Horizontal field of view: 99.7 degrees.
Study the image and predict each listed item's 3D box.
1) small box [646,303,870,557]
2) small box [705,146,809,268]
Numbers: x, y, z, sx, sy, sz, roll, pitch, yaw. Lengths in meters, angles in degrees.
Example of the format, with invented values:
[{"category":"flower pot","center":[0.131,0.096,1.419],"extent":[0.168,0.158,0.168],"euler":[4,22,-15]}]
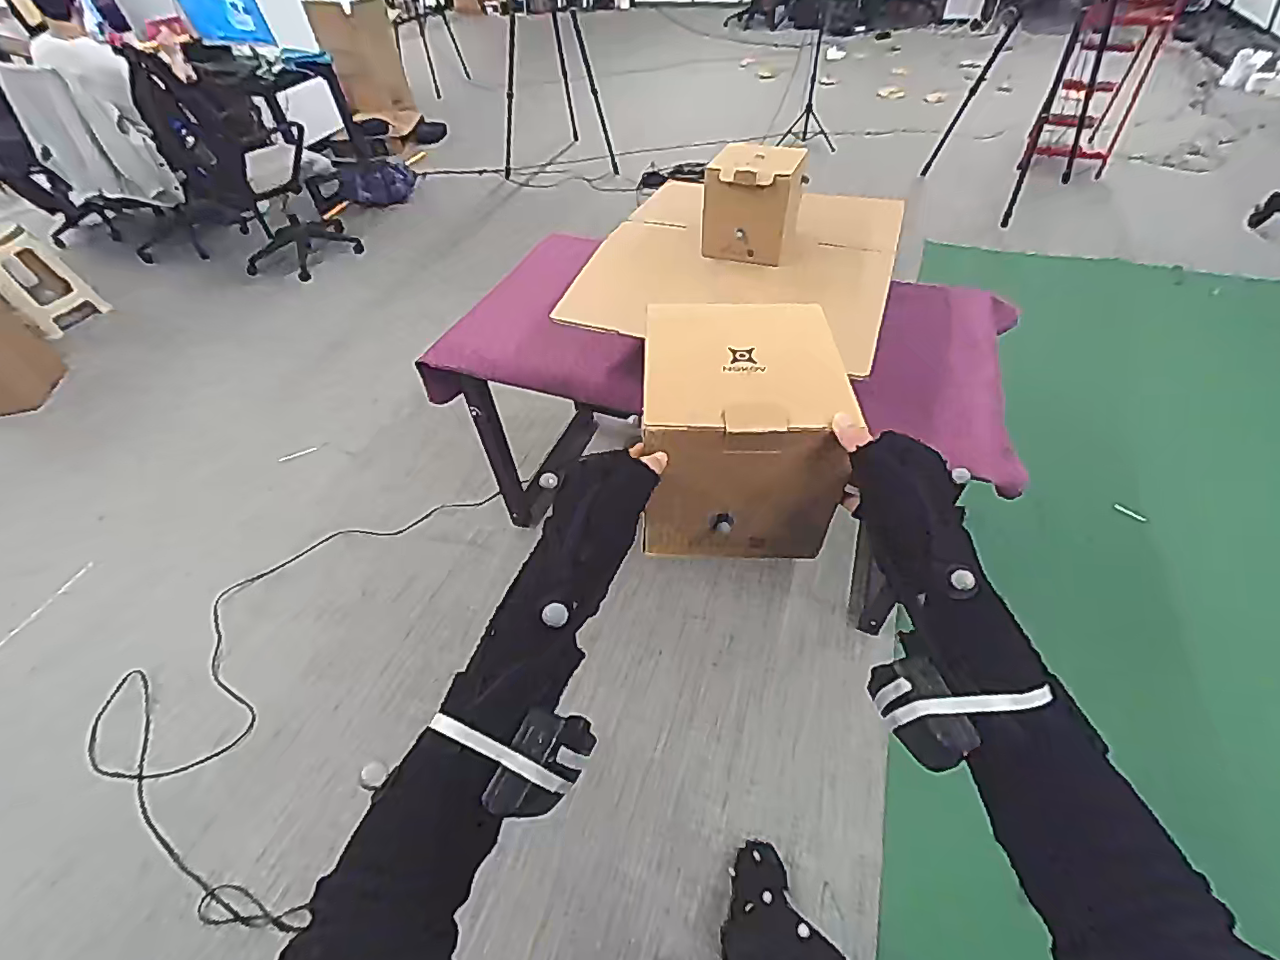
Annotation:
[{"category":"small box","center":[0.090,-0.047,0.514],"extent":[0.168,0.176,0.179],"euler":[0,48,1]},{"category":"small box","center":[0.236,-0.563,1.114],"extent":[0.168,0.176,0.179],"euler":[15,50,17]}]
